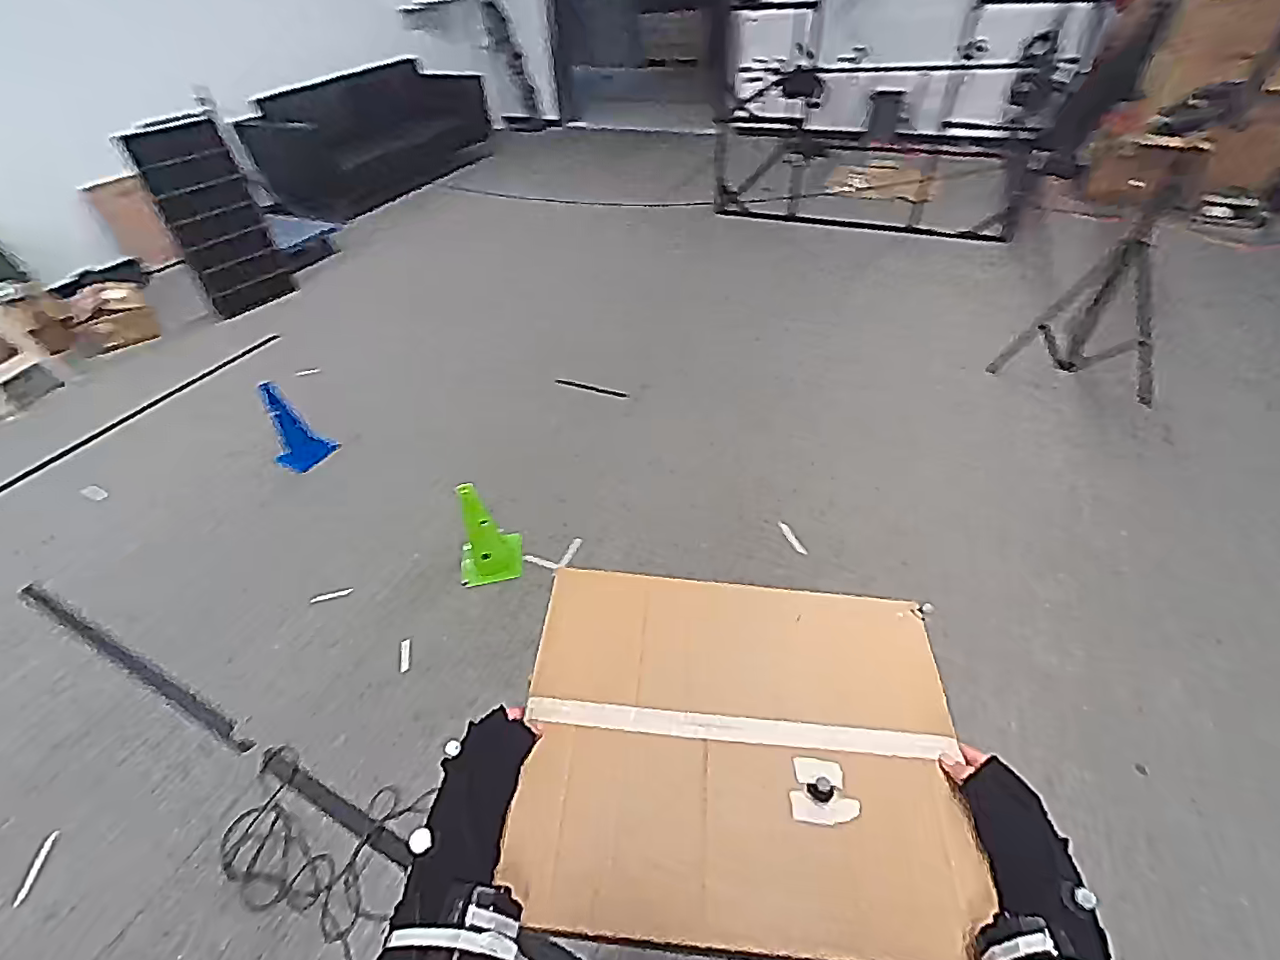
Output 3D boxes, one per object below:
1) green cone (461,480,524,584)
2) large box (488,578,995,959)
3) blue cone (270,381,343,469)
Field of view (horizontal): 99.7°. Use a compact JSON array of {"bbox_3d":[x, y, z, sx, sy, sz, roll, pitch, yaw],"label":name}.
[{"bbox_3d":[-0.517,0.146,1.780,0.200,0.368,0.202,-10,43,-7],"label":"green cone"},{"bbox_3d":[0.077,0.338,0.623,0.408,0.320,0.320,5,49,0],"label":"large box"},{"bbox_3d":[-1.455,-0.243,2.279,0.193,0.380,0.192,19,48,22],"label":"blue cone"}]
